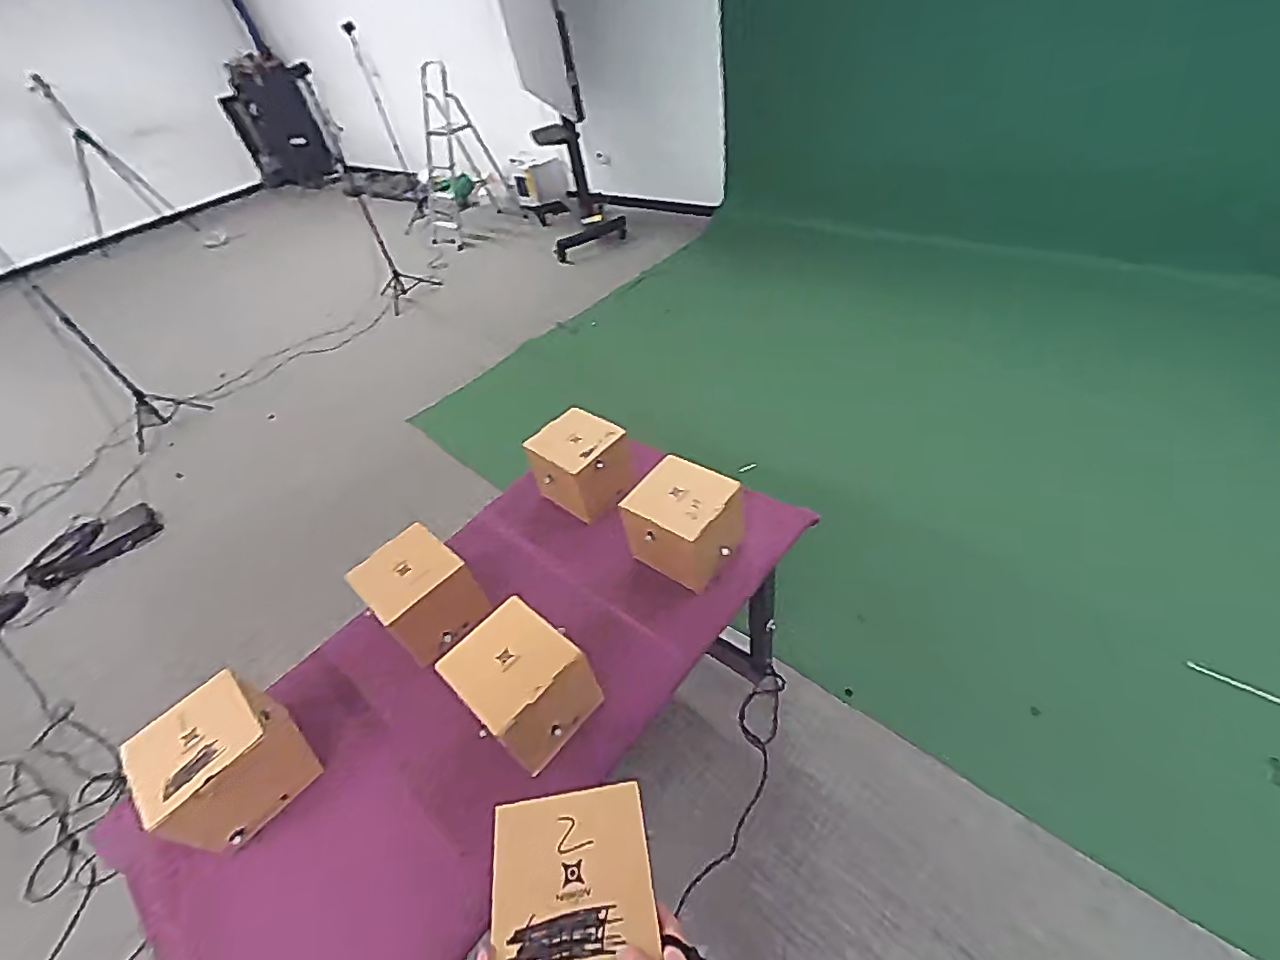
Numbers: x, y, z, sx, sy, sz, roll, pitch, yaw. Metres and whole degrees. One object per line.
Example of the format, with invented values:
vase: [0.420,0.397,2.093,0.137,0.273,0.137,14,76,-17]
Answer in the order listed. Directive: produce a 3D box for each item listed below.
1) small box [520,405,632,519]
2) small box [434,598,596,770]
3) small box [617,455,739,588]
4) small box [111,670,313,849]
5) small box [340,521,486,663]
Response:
small box: [-0.141,-0.039,1.244,0.179,0.176,0.168,28,57,32]
small box: [-0.197,0.336,0.887,0.179,0.176,0.168,28,56,33]
small box: [0.081,0.085,1.075,0.179,0.176,0.168,26,57,31]
small box: [-0.667,0.447,0.860,0.179,0.176,0.168,29,56,32]
small box: [-0.432,0.219,1.047,0.179,0.176,0.168,31,59,32]
